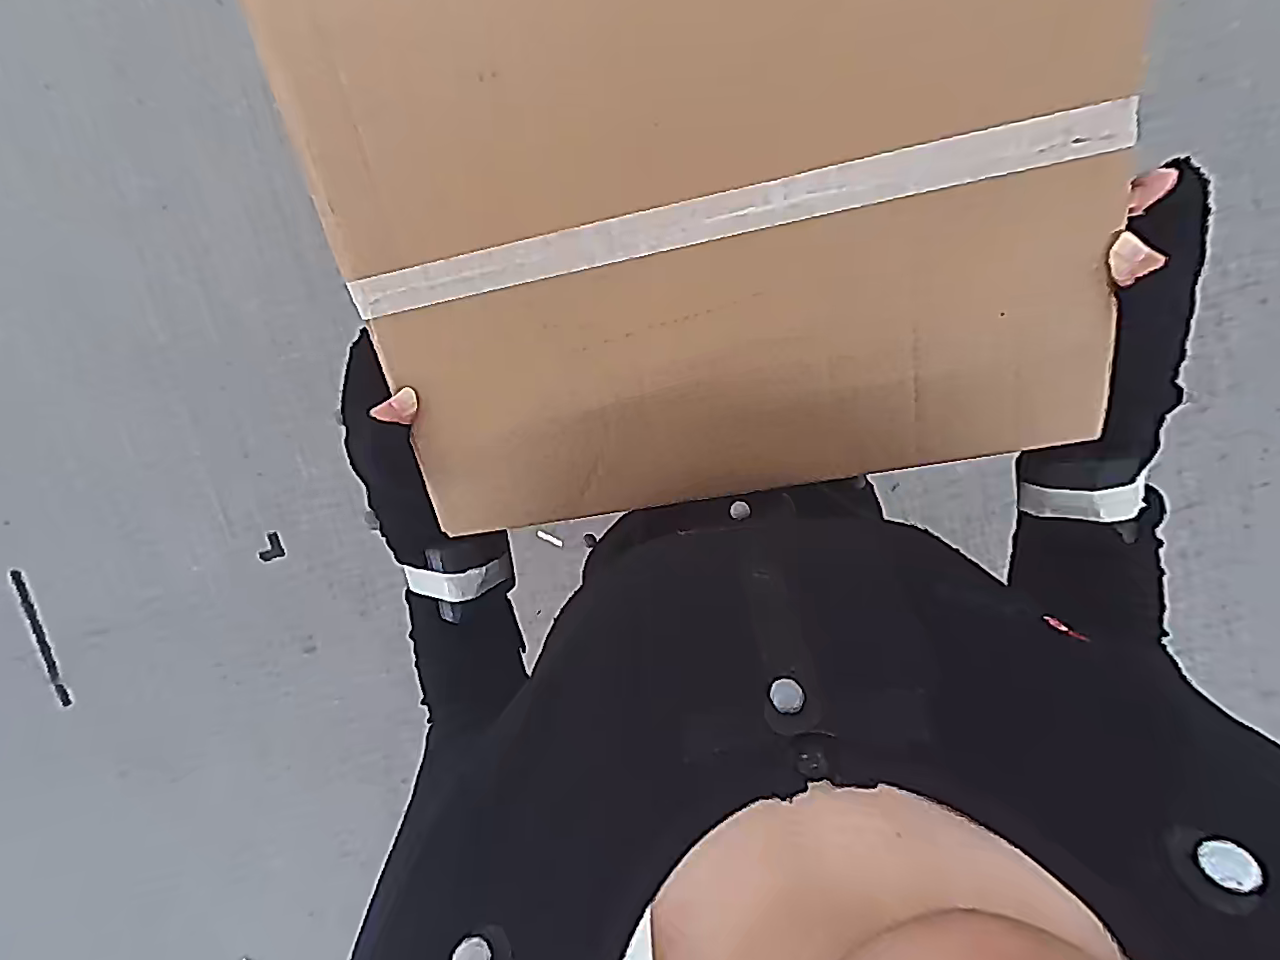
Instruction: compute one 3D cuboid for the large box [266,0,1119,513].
[{"bbox_3d":[0.042,-0.203,0.430,0.408,0.320,0.320,-9,112,8],"label":"large box"}]
